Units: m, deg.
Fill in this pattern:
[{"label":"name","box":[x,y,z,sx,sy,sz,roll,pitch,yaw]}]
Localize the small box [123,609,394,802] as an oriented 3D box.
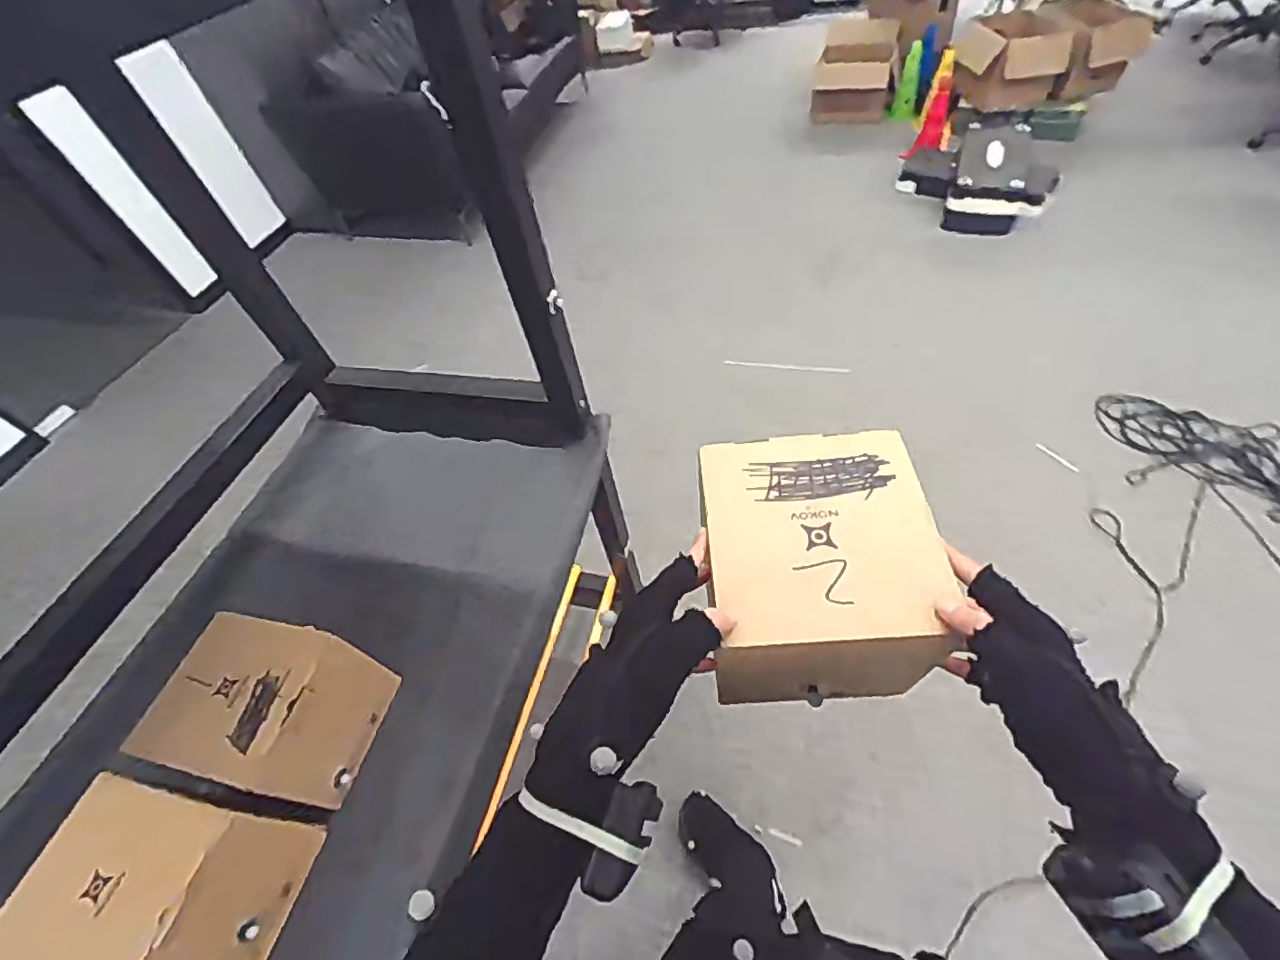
[{"label":"small box","box":[-0.444,0.281,0.667,0.179,0.176,0.168,6,54,15]}]
